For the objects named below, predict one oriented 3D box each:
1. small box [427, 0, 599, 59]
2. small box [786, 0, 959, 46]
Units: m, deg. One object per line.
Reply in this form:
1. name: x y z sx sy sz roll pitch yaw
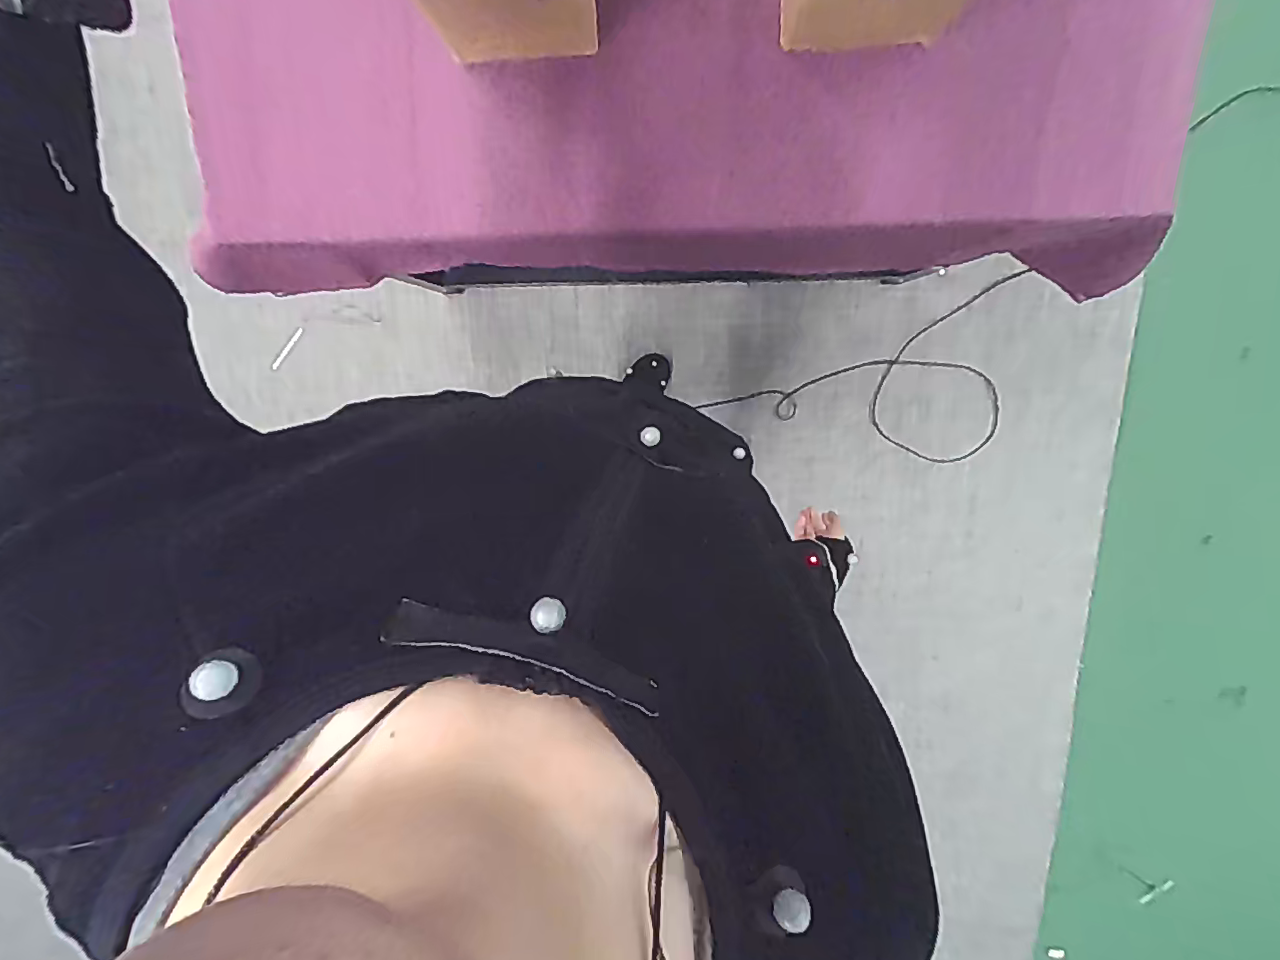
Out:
1. small box: -0.141 -0.570 0.555 0.179 0.176 0.168 -2 102 2
2. small box: 0.250 -0.569 0.538 0.179 0.176 0.168 0 103 2
